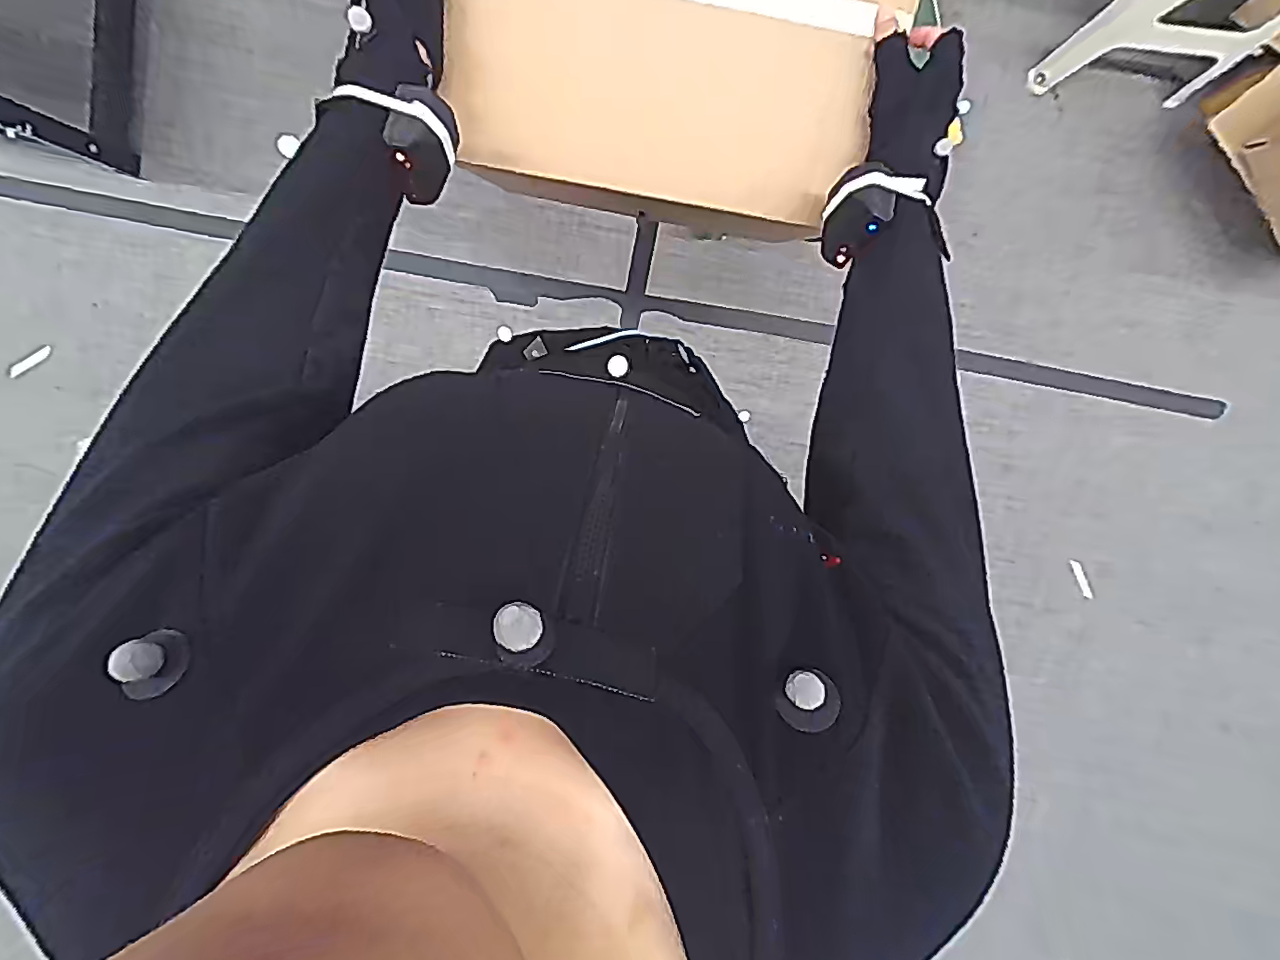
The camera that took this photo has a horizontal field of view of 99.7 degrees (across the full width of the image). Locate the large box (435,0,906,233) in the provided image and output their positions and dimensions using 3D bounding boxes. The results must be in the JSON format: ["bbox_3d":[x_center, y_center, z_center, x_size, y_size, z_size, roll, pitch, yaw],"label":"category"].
[{"bbox_3d":[0.030,-0.471,0.595,0.408,0.320,0.320,9,111,-3],"label":"large box"}]
